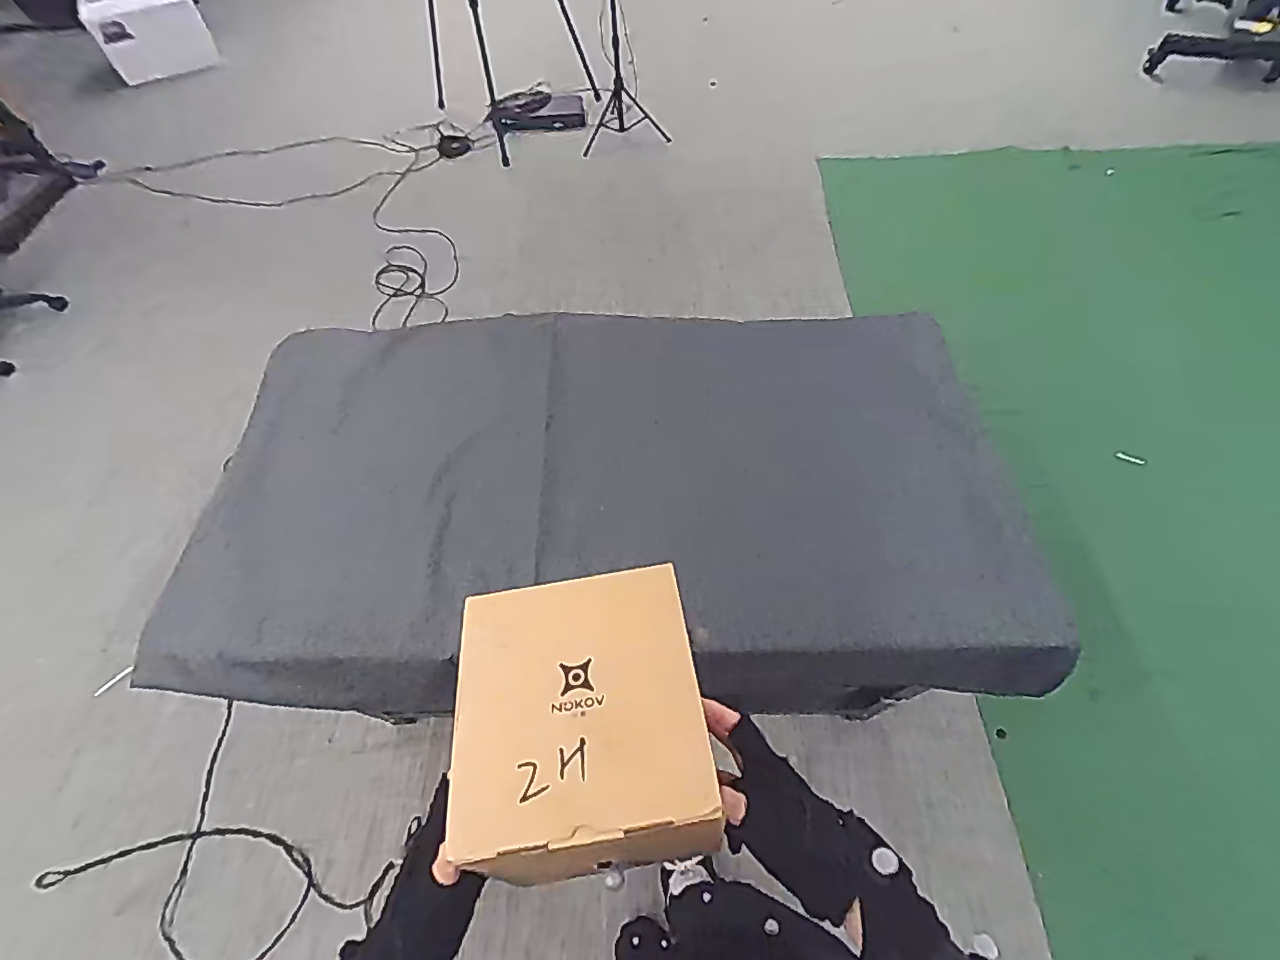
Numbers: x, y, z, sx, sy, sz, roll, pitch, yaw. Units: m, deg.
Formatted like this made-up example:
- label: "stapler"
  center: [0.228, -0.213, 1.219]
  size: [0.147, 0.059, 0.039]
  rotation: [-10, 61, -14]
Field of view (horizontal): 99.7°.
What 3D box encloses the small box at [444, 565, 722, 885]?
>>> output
- label: "small box"
  center: [-0.035, 0.194, 0.427]
  size: [0.168, 0.176, 0.179]
  rotation: [-10, 49, 0]
